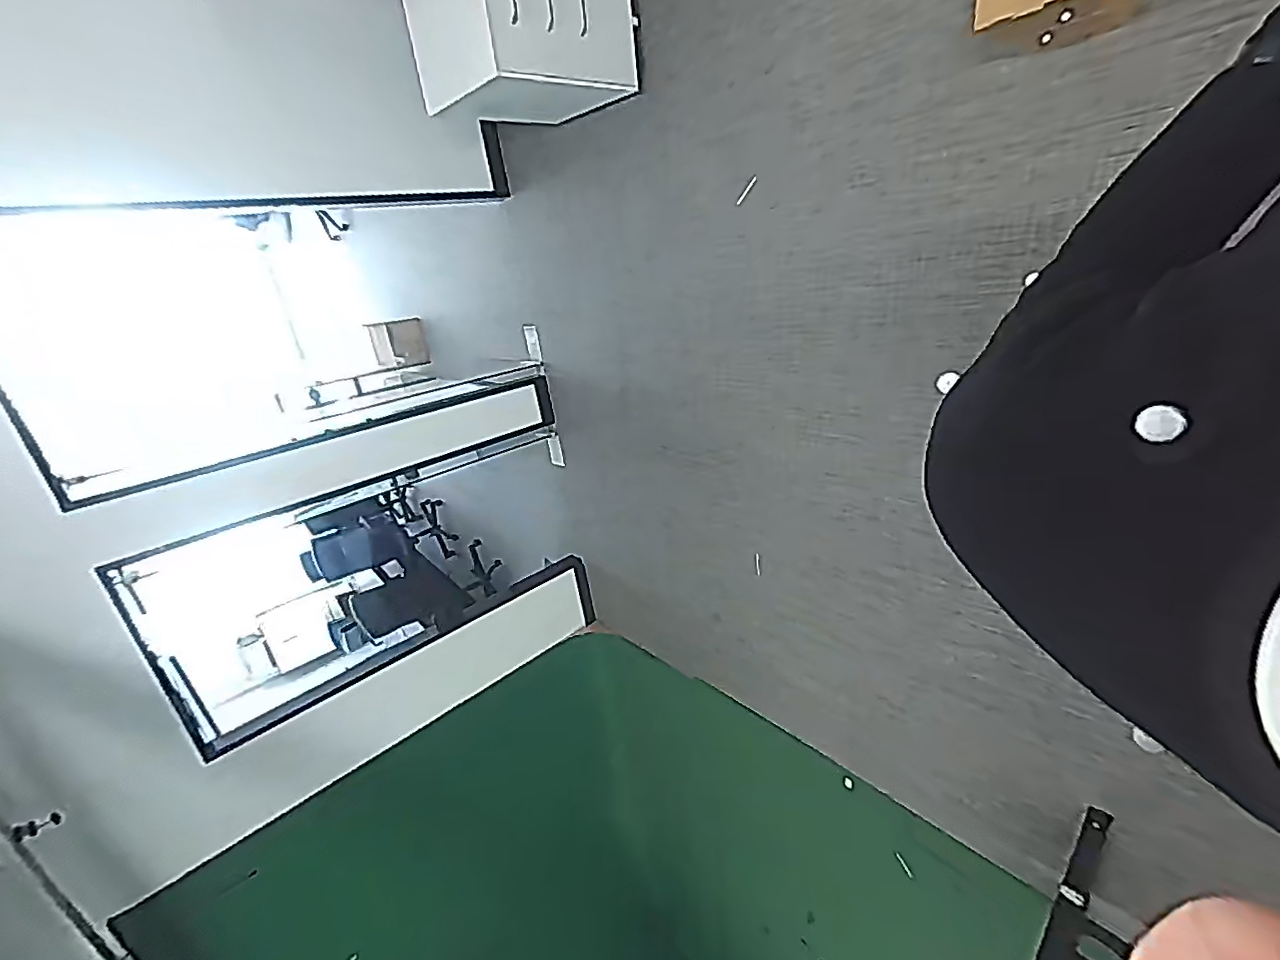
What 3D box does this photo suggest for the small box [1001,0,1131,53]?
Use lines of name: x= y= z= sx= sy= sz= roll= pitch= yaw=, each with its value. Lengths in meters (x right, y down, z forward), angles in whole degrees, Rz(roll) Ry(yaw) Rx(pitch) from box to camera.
small box: x=0.807 y=-0.938 z=1.011 sx=0.168 sy=0.176 sz=0.179 roll=19 pitch=124 yaw=47

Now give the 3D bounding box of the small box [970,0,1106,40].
small box: x=0.686 y=-0.884 z=0.917 sx=0.168 sy=0.176 sz=0.179 roll=15 pitch=120 yaw=47
